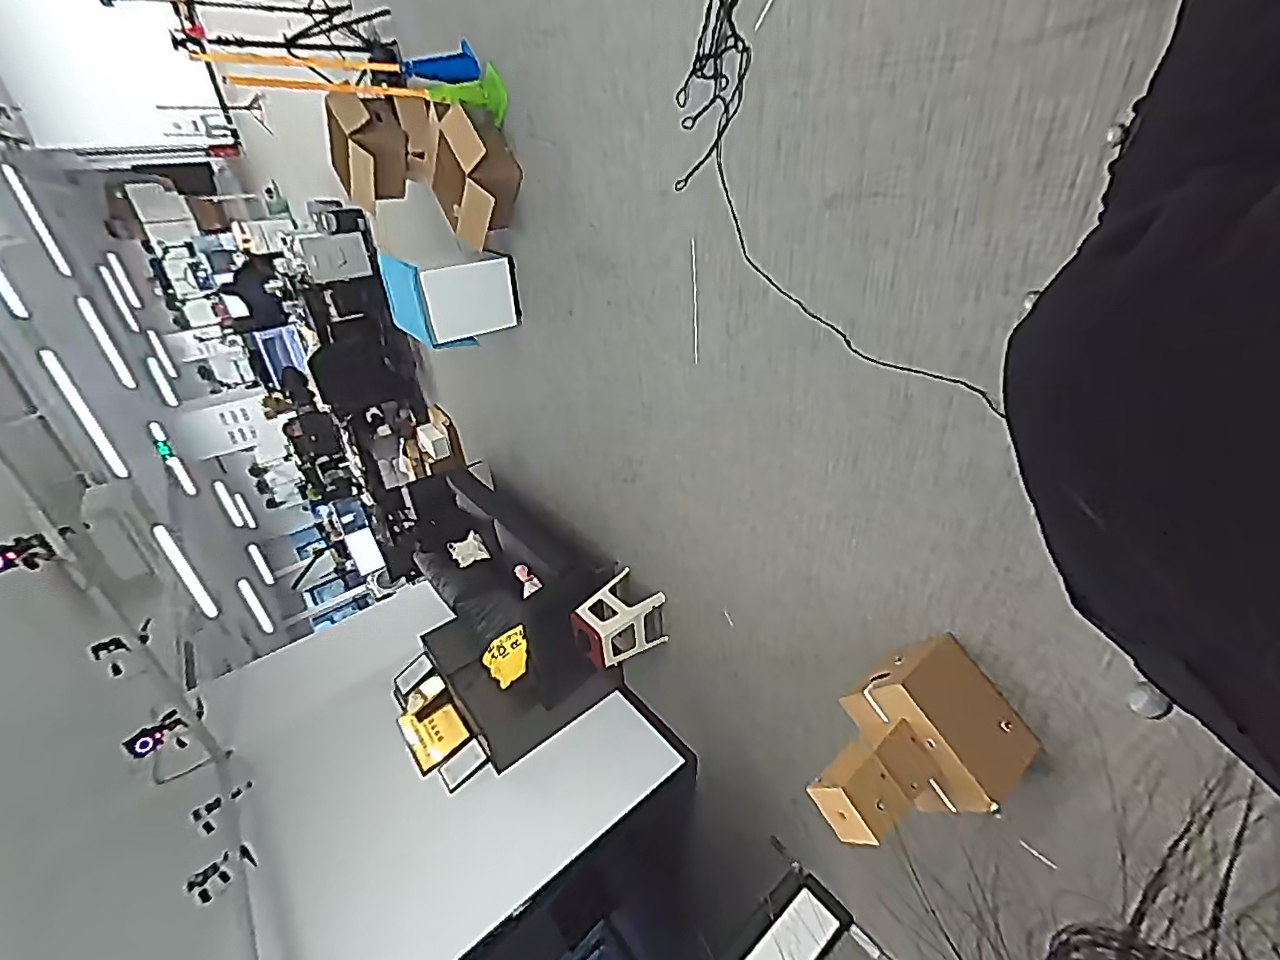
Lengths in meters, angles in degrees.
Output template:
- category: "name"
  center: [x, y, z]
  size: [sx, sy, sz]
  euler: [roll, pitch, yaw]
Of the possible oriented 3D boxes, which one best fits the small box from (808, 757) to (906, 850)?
- category: "small box"
  center: [0.632, 0.926, 1.558]
  size: [0.168, 0.176, 0.179]
  euler: [56, 149, 16]
